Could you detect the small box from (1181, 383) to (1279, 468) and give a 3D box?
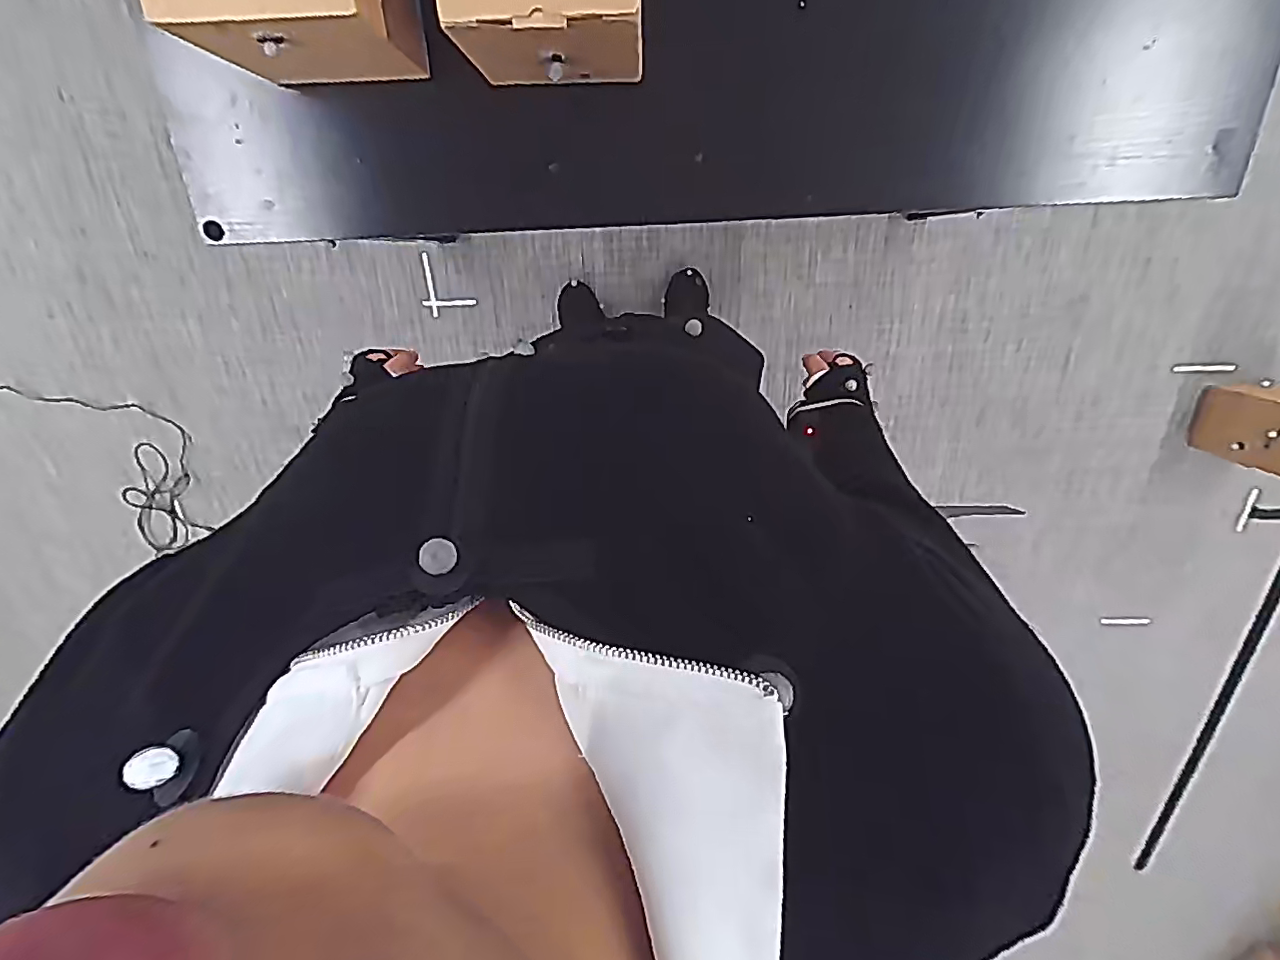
[{"bbox_3d":[1.564,-0.143,1.390,0.168,0.176,0.179,-3,112,2],"label":"small box"}]

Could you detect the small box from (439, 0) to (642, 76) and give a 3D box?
[{"bbox_3d":[-0.081,-0.483,0.482,0.168,0.176,0.179,-1,113,0],"label":"small box"}]

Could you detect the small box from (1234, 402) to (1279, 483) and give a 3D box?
[{"bbox_3d":[1.556,-0.082,1.239,0.179,0.176,0.168,-2,111,3],"label":"small box"}]

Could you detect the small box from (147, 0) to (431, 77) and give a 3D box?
[{"bbox_3d":[-0.314,-0.484,0.485,0.179,0.176,0.168,-2,113,1],"label":"small box"}]
